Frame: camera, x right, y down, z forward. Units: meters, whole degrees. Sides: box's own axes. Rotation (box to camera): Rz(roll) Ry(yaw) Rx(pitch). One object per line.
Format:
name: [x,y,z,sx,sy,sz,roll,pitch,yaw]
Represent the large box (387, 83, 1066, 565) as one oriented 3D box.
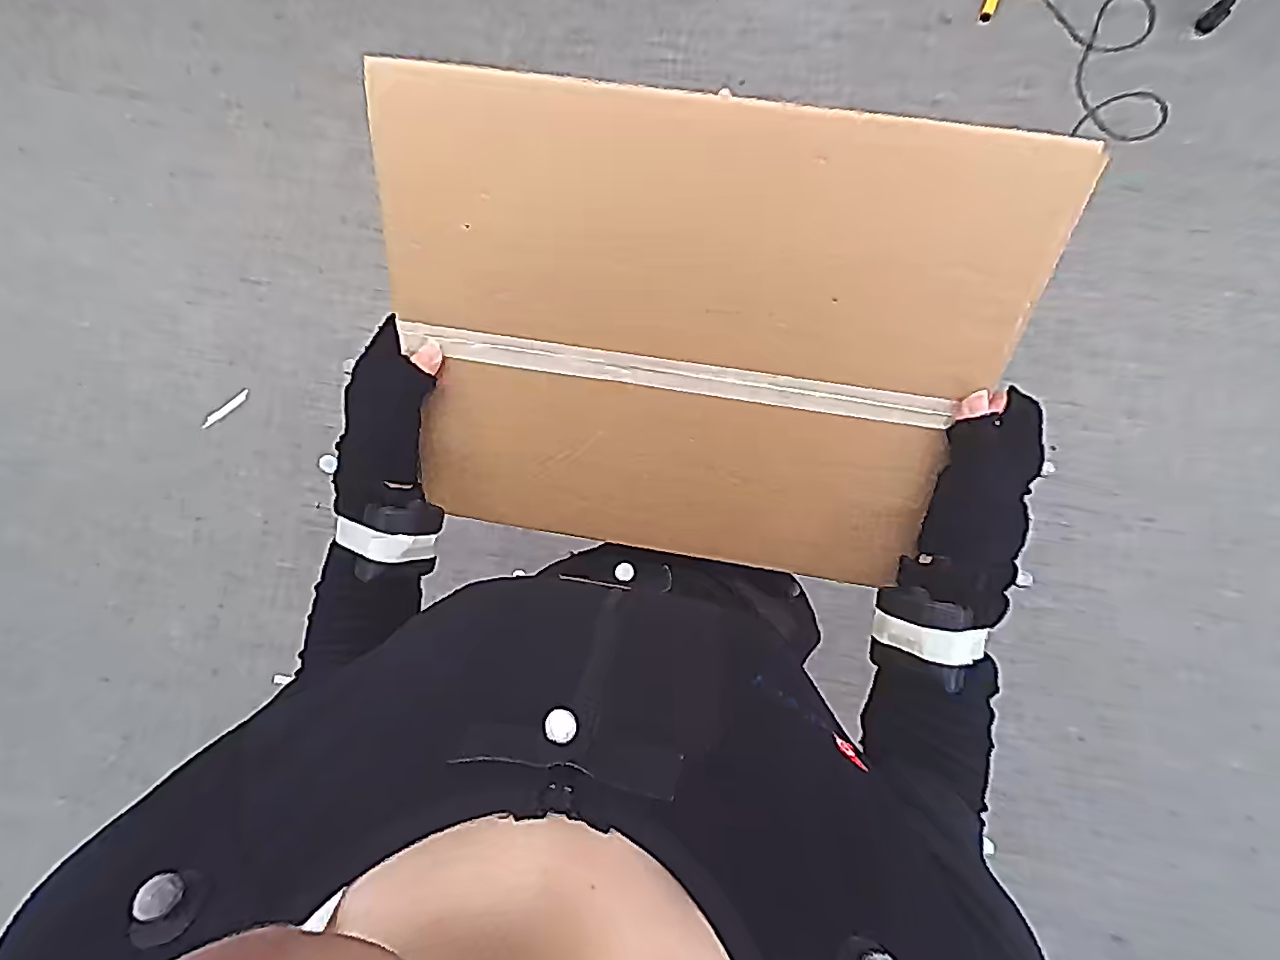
large box: [0.051,-0.160,0.514,0.408,0.320,0.320,9,122,4]
